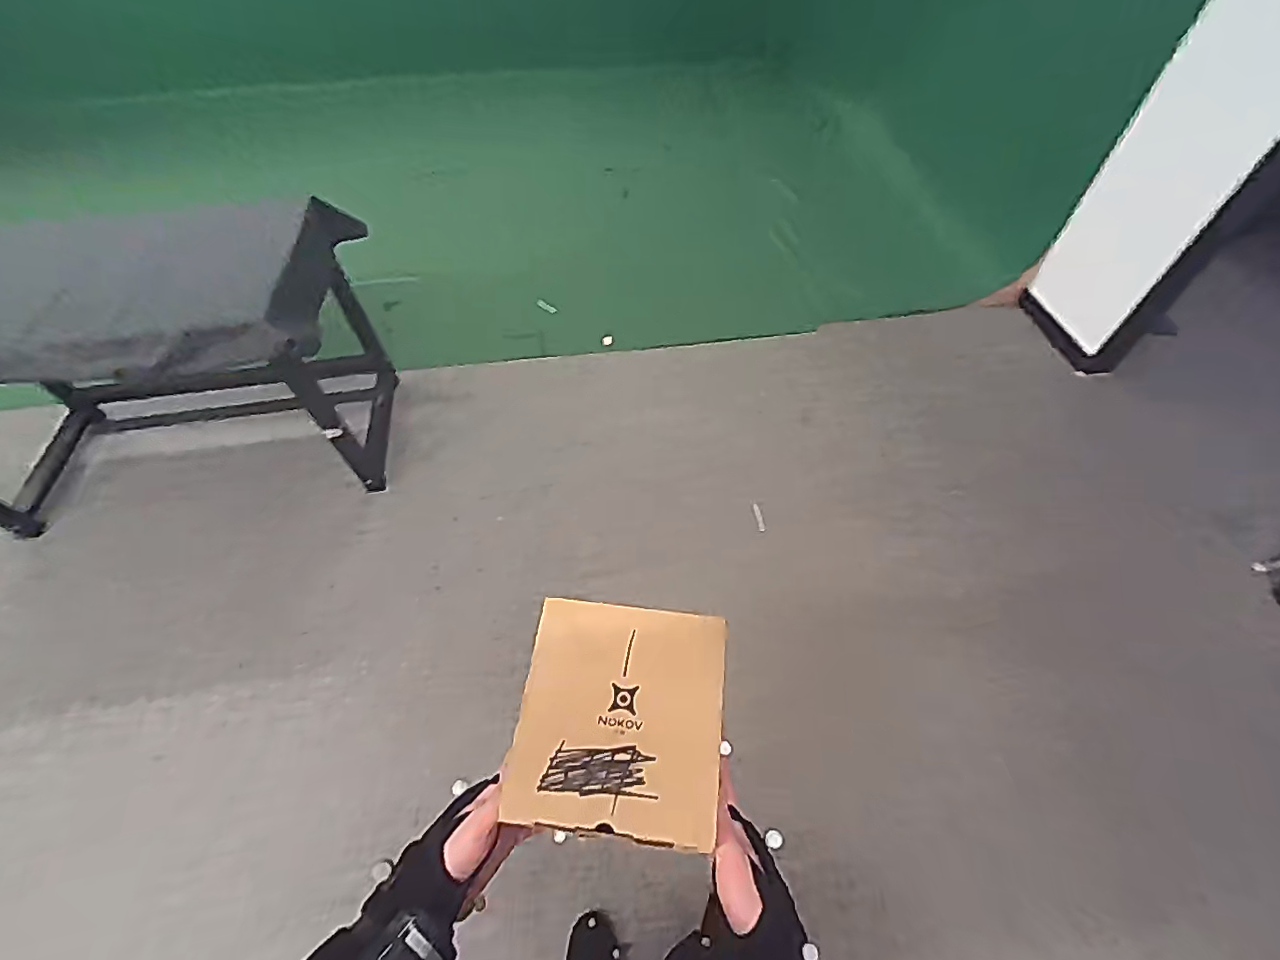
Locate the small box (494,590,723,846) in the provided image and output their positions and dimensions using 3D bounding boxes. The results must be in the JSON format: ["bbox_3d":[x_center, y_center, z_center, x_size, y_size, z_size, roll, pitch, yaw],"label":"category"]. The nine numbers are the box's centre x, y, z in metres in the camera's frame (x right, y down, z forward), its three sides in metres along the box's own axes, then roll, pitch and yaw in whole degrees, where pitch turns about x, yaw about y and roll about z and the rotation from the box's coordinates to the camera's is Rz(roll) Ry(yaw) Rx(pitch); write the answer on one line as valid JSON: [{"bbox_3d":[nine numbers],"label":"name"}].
[{"bbox_3d":[-0.017,0.222,0.504,0.168,0.176,0.179,6,58,4],"label":"small box"}]
